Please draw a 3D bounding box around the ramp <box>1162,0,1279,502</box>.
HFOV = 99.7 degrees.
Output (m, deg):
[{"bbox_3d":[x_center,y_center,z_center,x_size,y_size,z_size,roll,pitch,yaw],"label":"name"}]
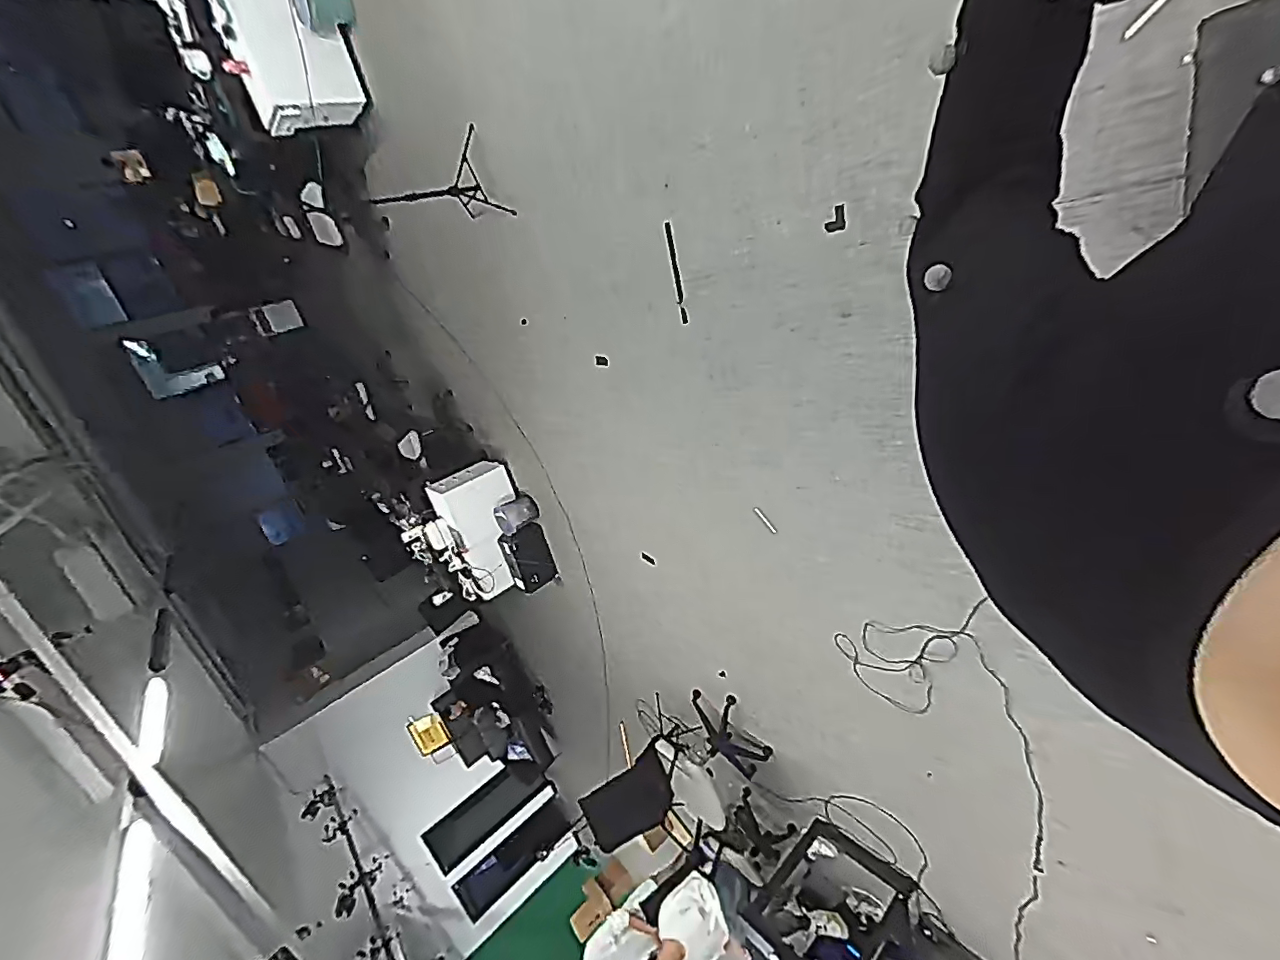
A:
[{"bbox_3d":[1.266,-0.347,0.931,0.509,0.206,0.991,9,123,49],"label":"ramp"}]
